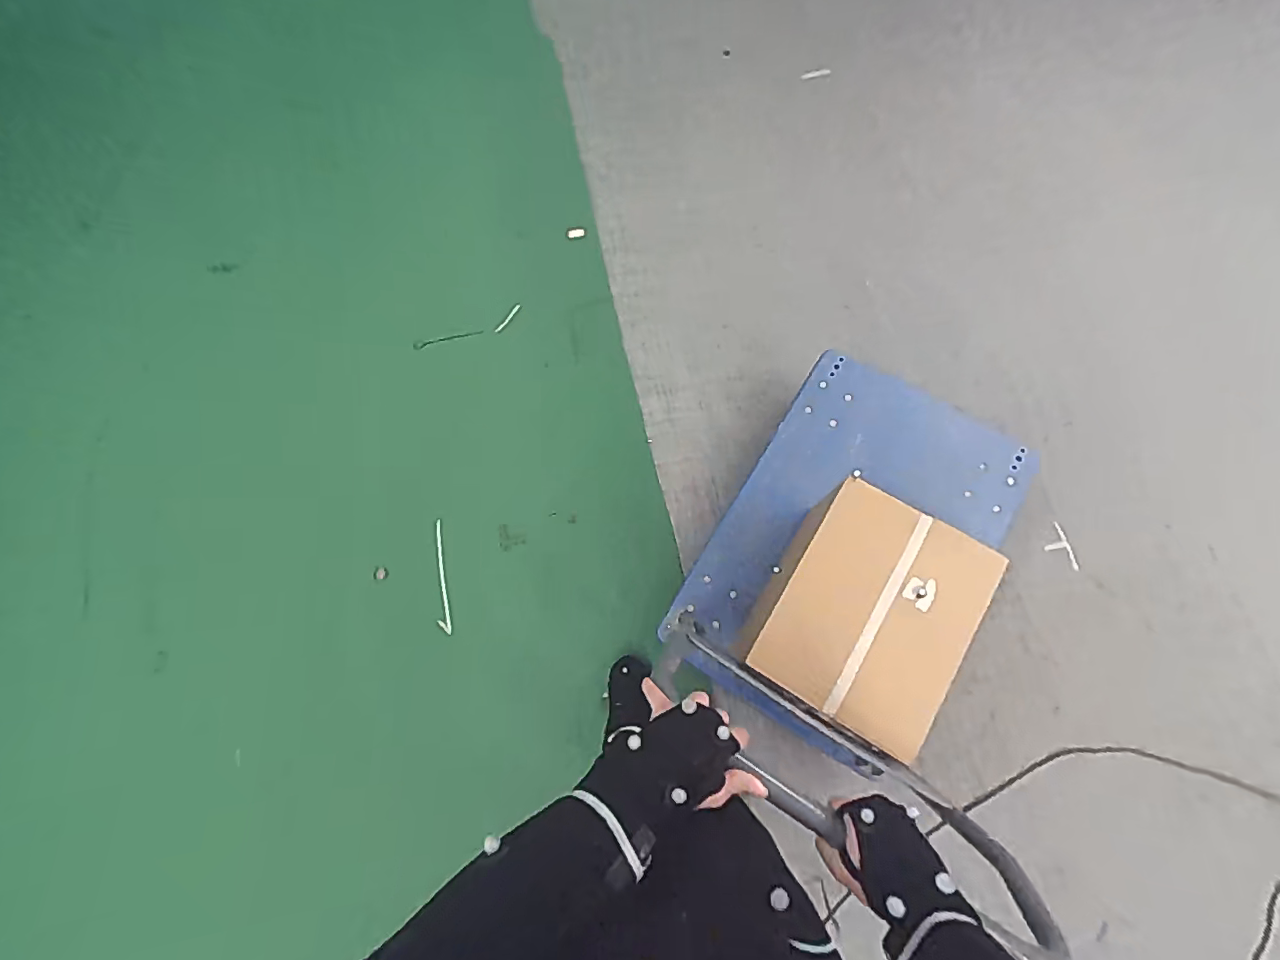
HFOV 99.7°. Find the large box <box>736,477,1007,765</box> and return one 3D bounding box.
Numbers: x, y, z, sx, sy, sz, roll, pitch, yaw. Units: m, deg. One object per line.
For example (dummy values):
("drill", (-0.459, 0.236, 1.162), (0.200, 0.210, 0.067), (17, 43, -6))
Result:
("large box", (0.431, 0.272, 1.089), (0.320, 0.320, 0.408), (31, 78, 11))
